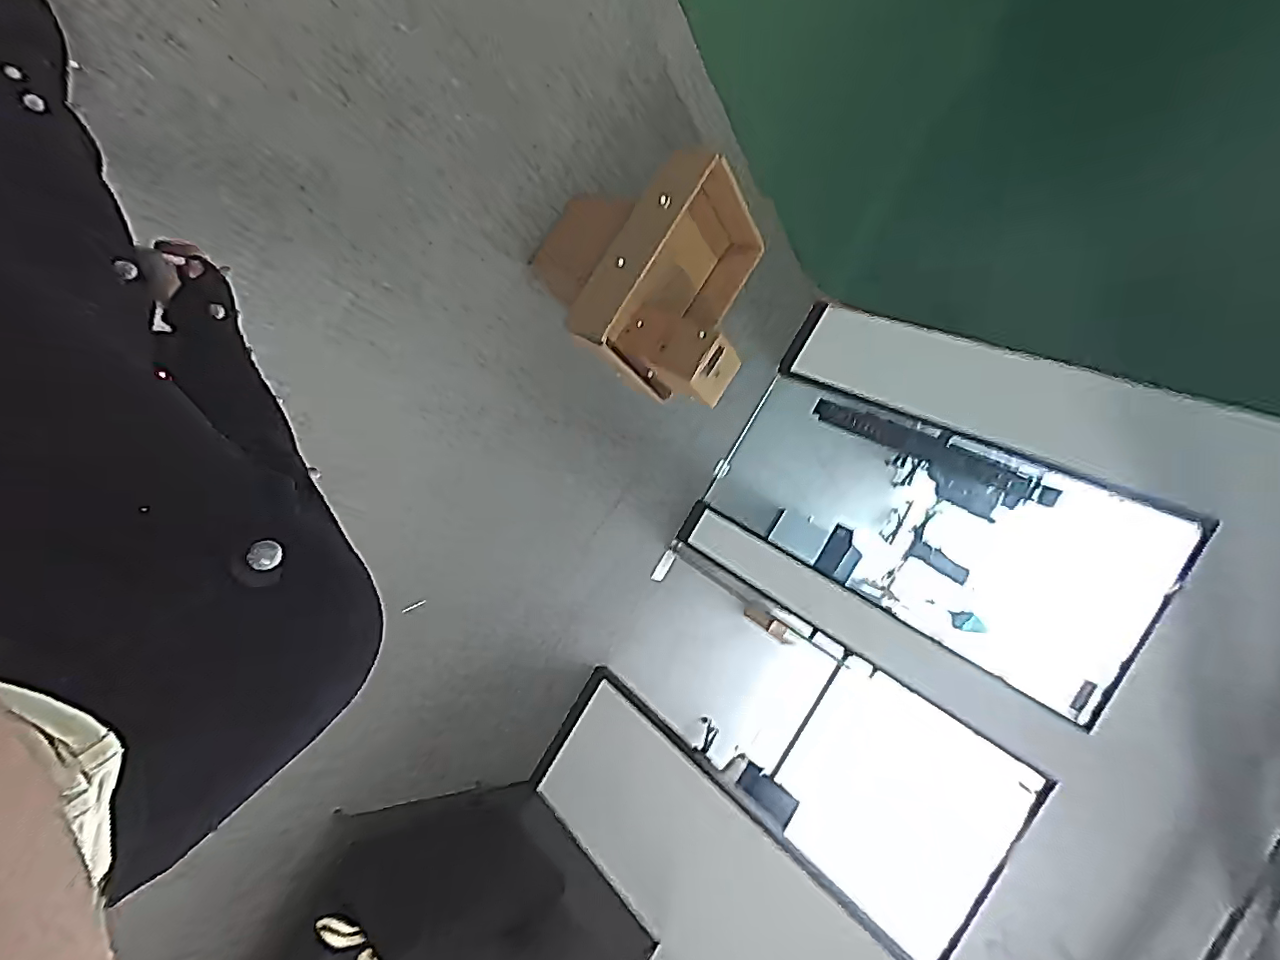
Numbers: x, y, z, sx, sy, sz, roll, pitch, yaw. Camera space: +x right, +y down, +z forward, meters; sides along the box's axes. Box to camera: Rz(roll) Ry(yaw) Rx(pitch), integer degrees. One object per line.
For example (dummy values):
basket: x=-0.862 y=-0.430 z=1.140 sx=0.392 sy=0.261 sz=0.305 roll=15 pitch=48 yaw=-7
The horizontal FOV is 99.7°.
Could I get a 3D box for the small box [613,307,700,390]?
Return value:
small box: x=0.051 y=-0.415 z=1.687 sx=0.168 sy=0.176 sz=0.179 roll=-57 pitch=144 yaw=-1
